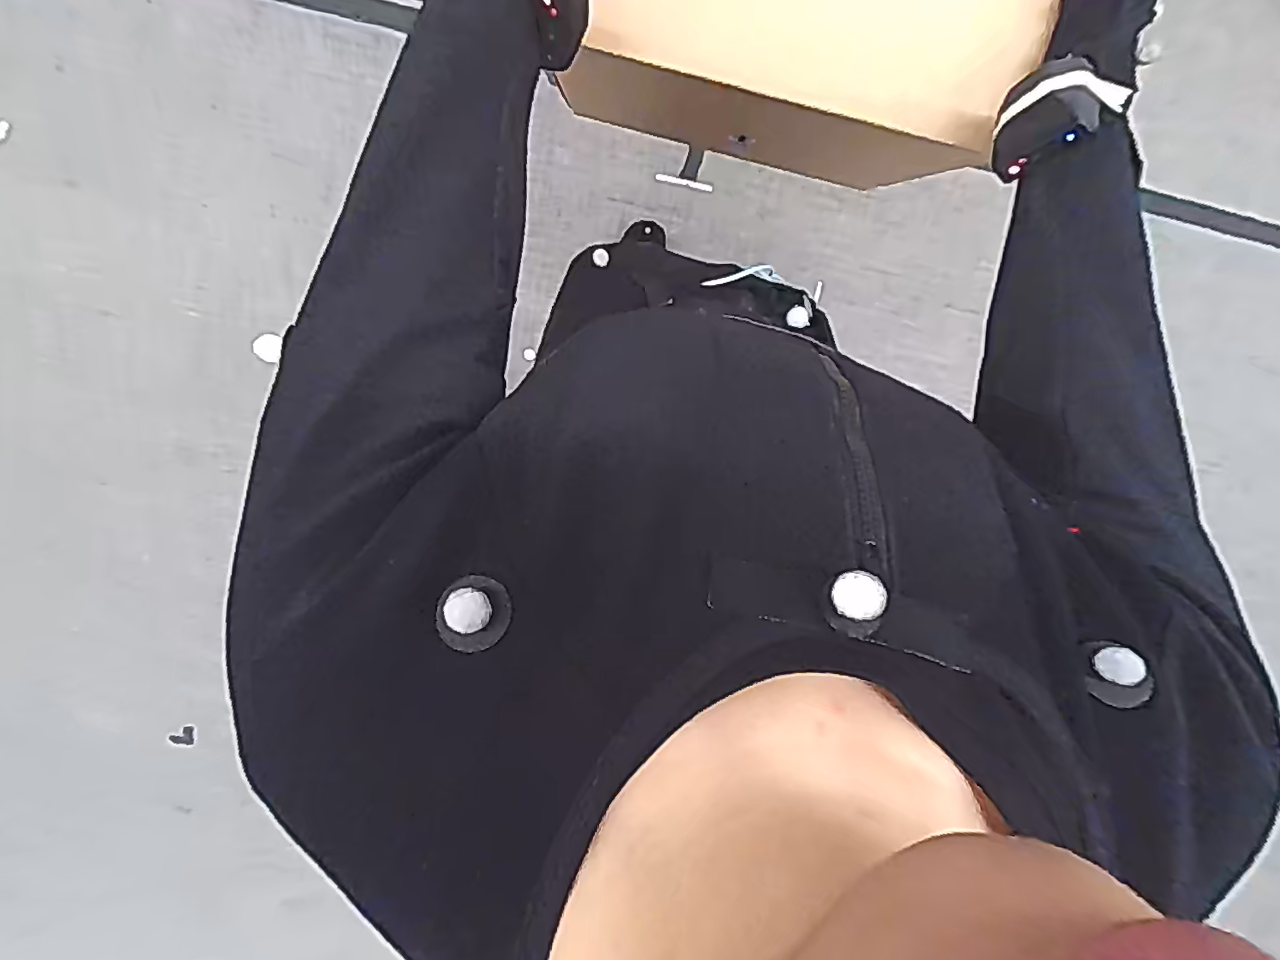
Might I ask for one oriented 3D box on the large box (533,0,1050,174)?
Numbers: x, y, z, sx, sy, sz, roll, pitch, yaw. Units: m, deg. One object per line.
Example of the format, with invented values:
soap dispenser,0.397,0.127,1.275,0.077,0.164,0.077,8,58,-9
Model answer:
large box,0.142,-0.522,0.520,0.408,0.320,0.320,12,112,-5
